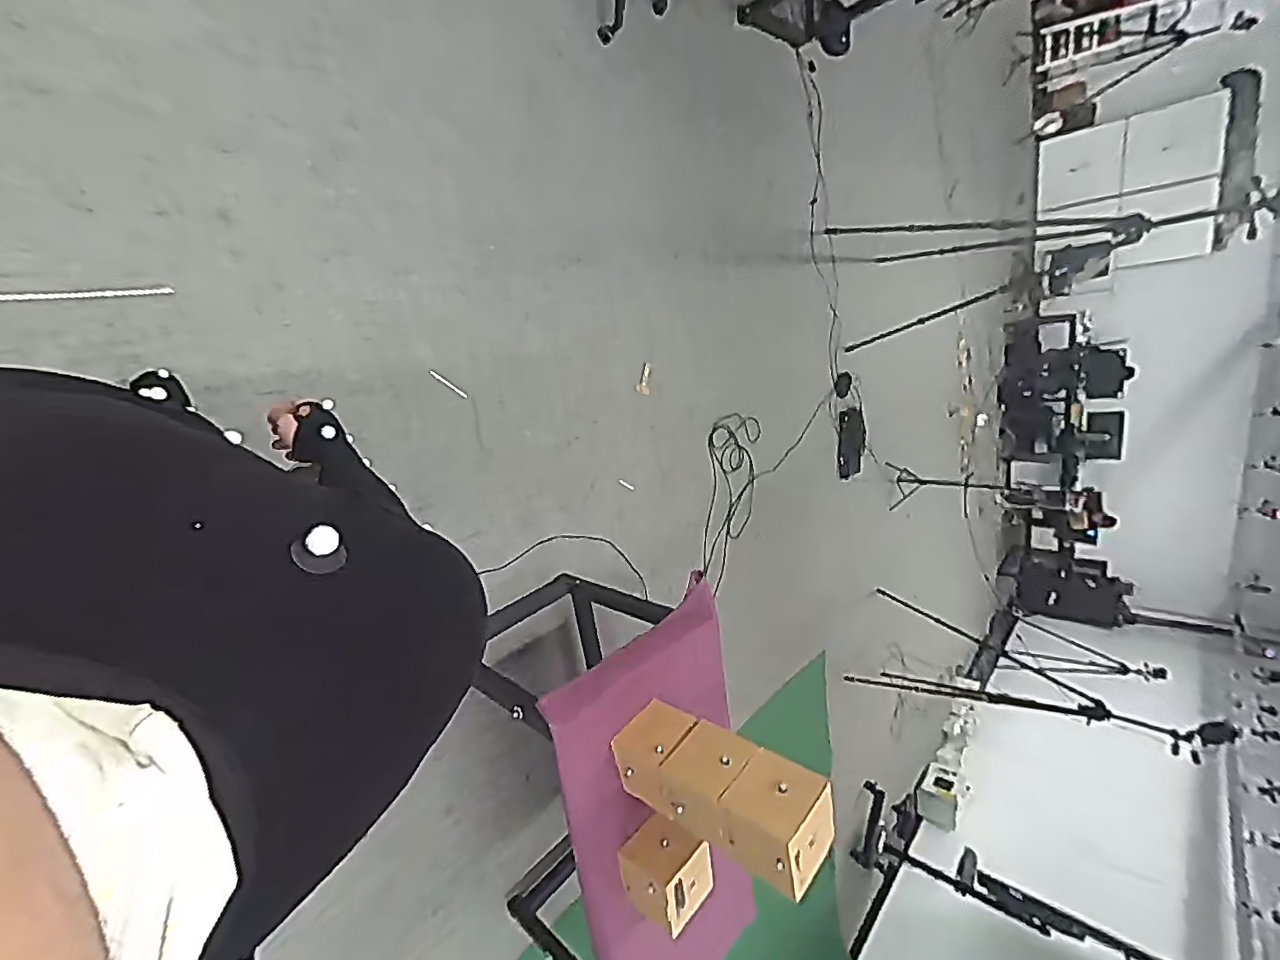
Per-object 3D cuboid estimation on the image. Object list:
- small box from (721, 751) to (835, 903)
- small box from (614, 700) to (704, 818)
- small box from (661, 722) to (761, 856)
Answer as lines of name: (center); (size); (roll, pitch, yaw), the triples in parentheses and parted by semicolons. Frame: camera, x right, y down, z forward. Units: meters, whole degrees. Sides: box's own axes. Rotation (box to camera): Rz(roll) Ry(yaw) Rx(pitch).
small box: (0.294, 0.720, 1.147); (0.179, 0.176, 0.168); (-27, 114, -41)
small box: (0.060, 0.698, 1.378); (0.179, 0.176, 0.168); (-28, 114, -39)
small box: (0.175, 0.706, 1.260); (0.179, 0.176, 0.168); (-29, 115, -39)
